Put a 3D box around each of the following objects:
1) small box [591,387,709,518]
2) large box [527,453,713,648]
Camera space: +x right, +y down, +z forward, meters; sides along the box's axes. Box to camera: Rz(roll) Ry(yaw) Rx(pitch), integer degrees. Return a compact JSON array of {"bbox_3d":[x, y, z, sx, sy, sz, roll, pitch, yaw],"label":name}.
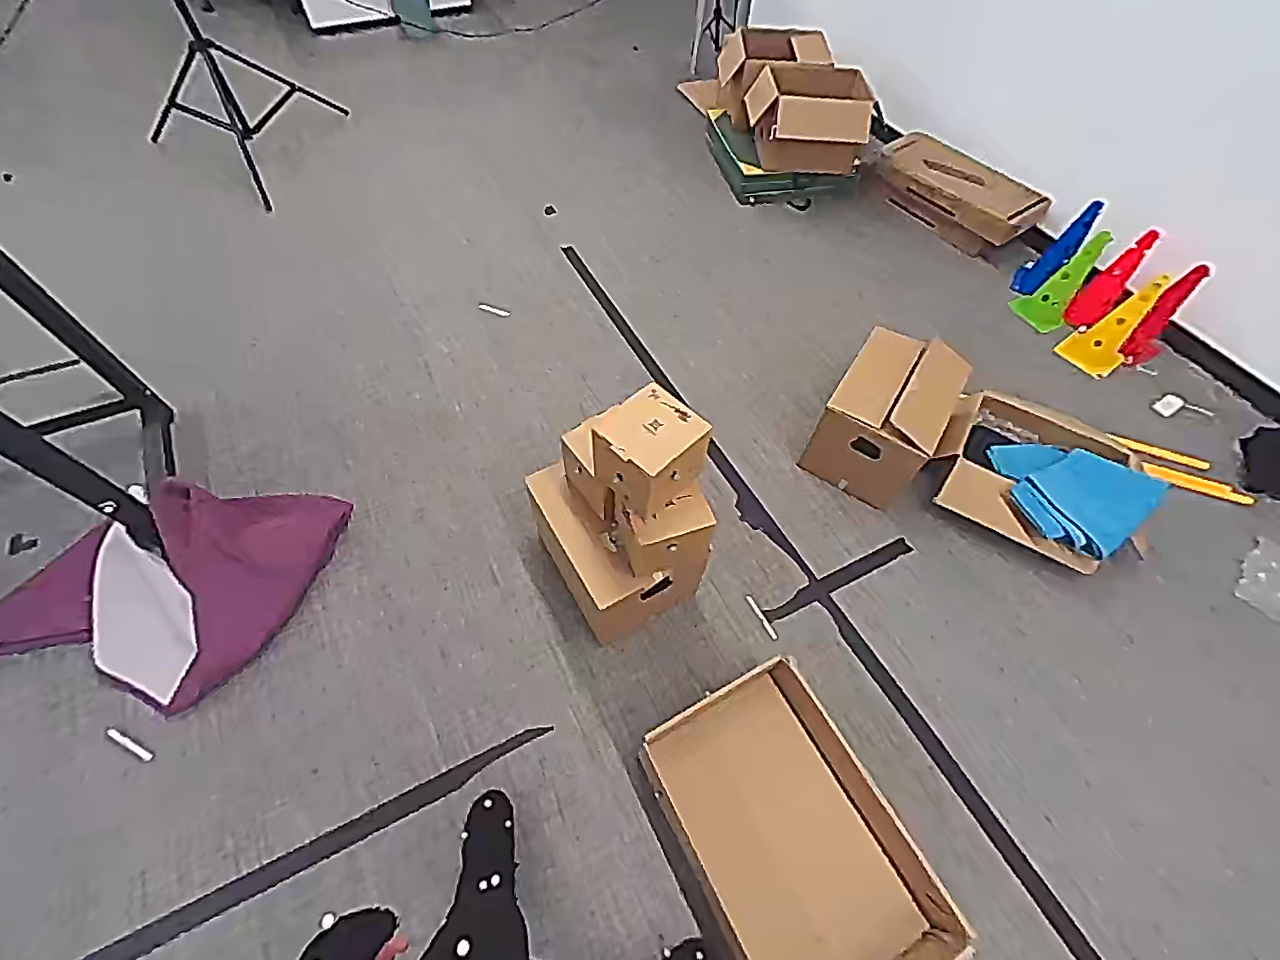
[{"bbox_3d":[0.020,-0.052,1.125,0.168,0.176,0.179,41,65,21],"label":"small box"},{"bbox_3d":[-0.065,0.172,1.461,0.320,0.320,0.408,-27,64,-18],"label":"large box"}]
